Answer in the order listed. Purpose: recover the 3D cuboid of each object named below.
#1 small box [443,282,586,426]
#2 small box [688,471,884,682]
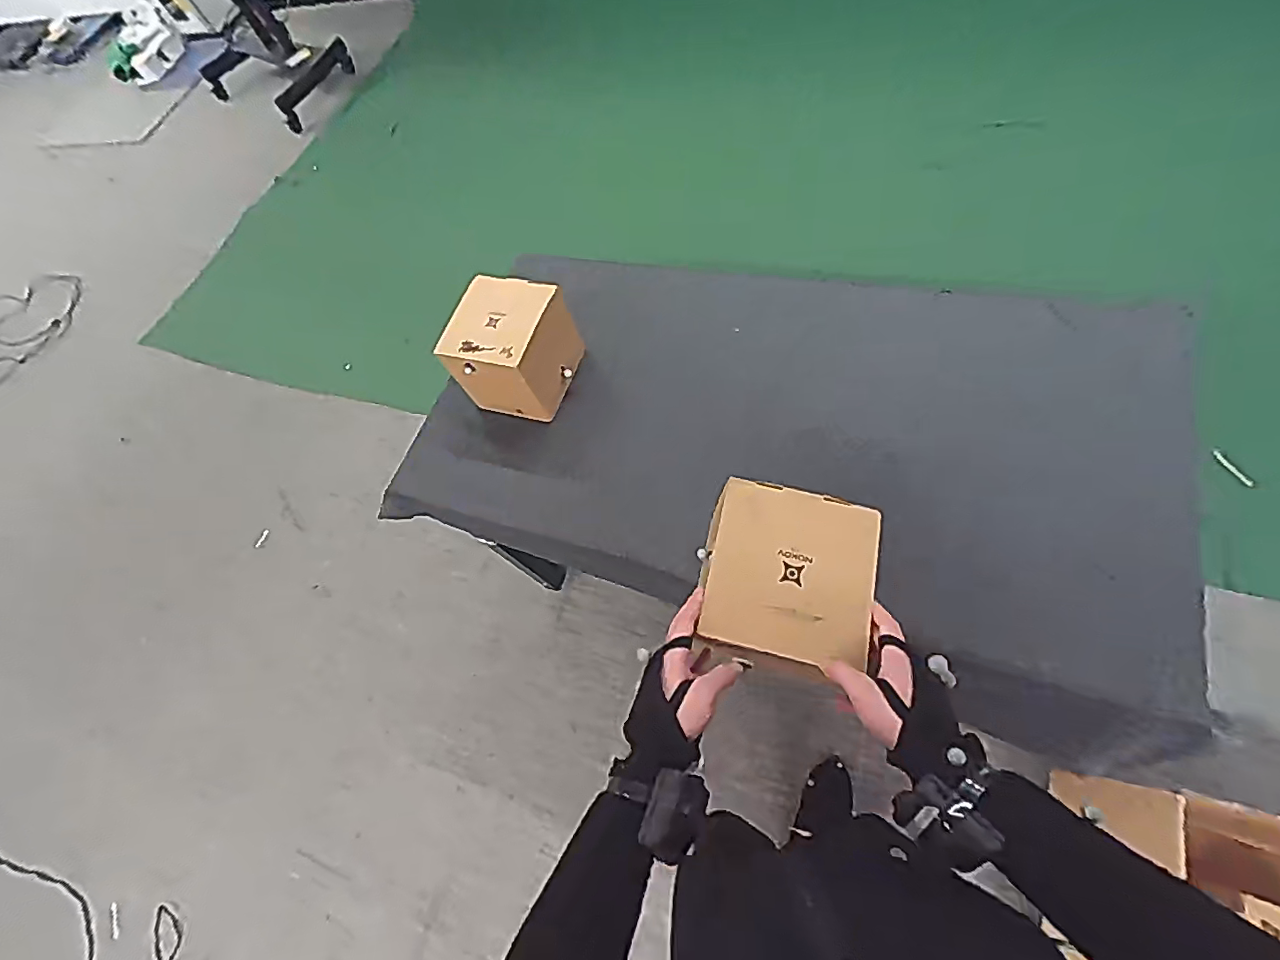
[{"bbox_3d":[-0.214,-0.226,0.983,0.168,0.176,0.179,14,67,19],"label":"small box"},{"bbox_3d":[0.153,0.116,0.609,0.168,0.176,0.179,13,68,6],"label":"small box"}]
